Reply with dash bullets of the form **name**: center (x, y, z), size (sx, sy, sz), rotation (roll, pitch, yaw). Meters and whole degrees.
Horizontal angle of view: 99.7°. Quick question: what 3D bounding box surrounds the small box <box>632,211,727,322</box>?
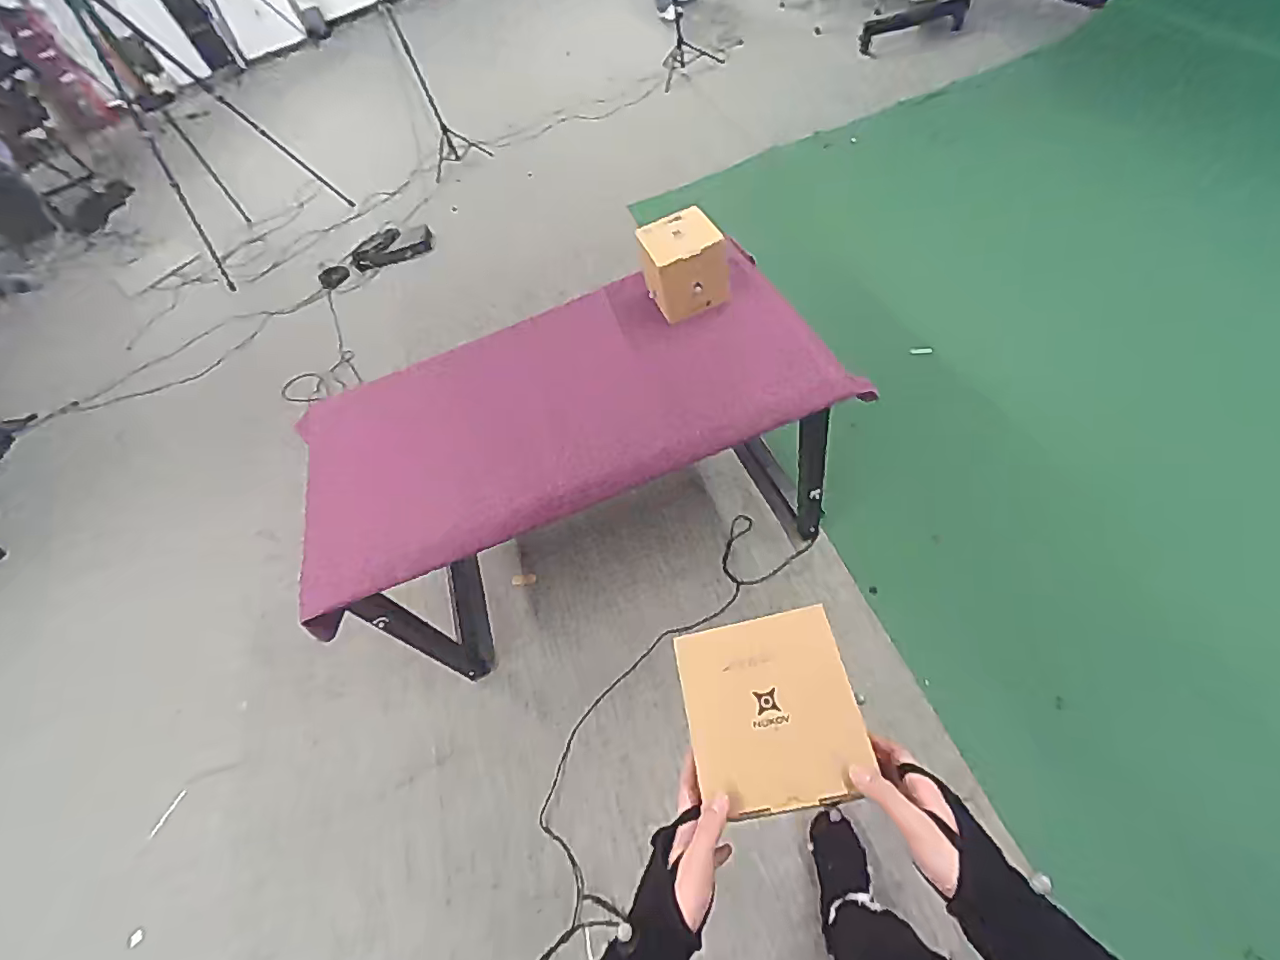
- **small box**: center (0.101, -0.508, 1.313), size (0.168, 0.176, 0.179), rotation (-23, 54, 0)

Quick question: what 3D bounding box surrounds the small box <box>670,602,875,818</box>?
- **small box**: center (0.142, 0.259, 0.597), size (0.168, 0.176, 0.179), rotation (-15, 55, 8)
